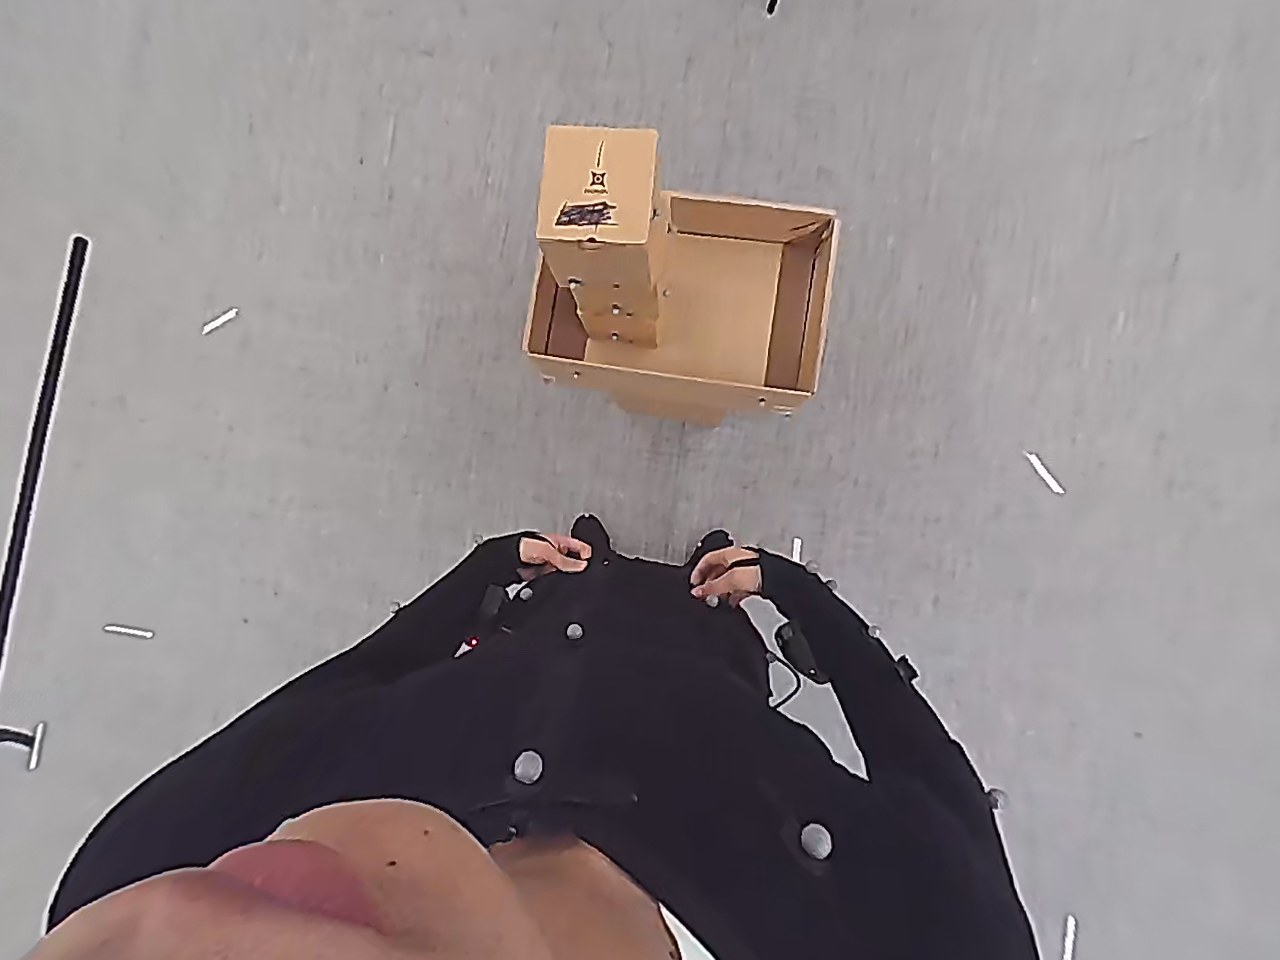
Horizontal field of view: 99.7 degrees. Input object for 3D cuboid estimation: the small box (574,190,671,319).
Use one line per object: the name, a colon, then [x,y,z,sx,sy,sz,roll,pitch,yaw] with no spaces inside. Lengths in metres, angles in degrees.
small box: [-0.034,-0.428,1.027,0.168,0.176,0.179,7,88,3]

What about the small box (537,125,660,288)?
small box: [-0.057,-0.423,0.863,0.168,0.176,0.179,5,87,3]

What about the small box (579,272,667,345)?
small box: [-0.032,-0.416,1.191,0.168,0.176,0.179,8,87,3]
